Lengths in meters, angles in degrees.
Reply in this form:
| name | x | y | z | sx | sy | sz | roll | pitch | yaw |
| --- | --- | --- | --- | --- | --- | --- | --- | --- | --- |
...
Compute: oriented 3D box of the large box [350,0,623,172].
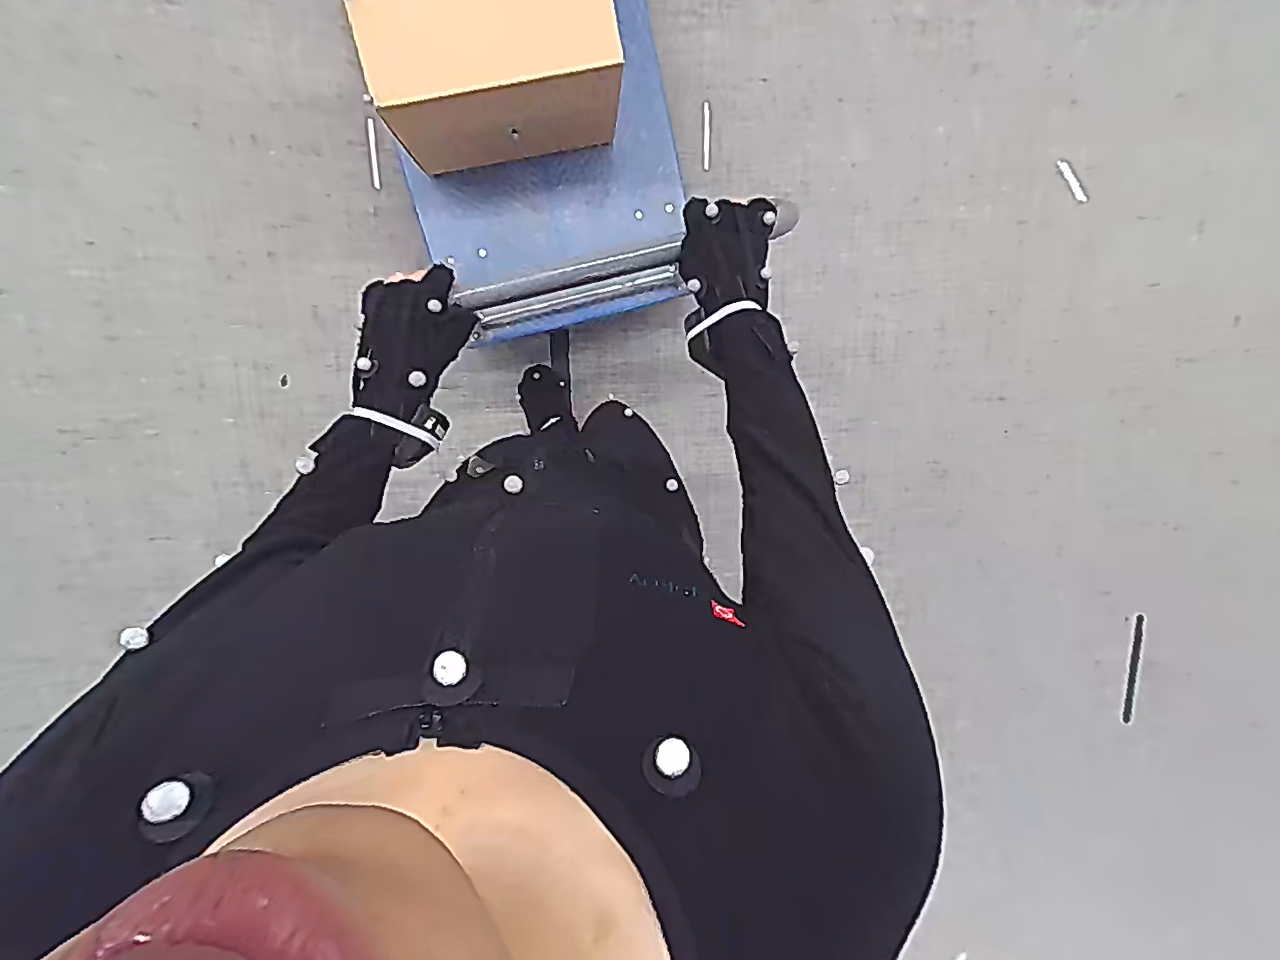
| name | x | y | z | sx | sy | sz | roll | pitch | yaw |
| --- | --- | --- | --- | --- | --- | --- | --- | --- | --- |
| large box | -0.264 | -0.808 | 0.979 | 0.408 | 0.320 | 0.320 | -13 | 103 | -2 |
